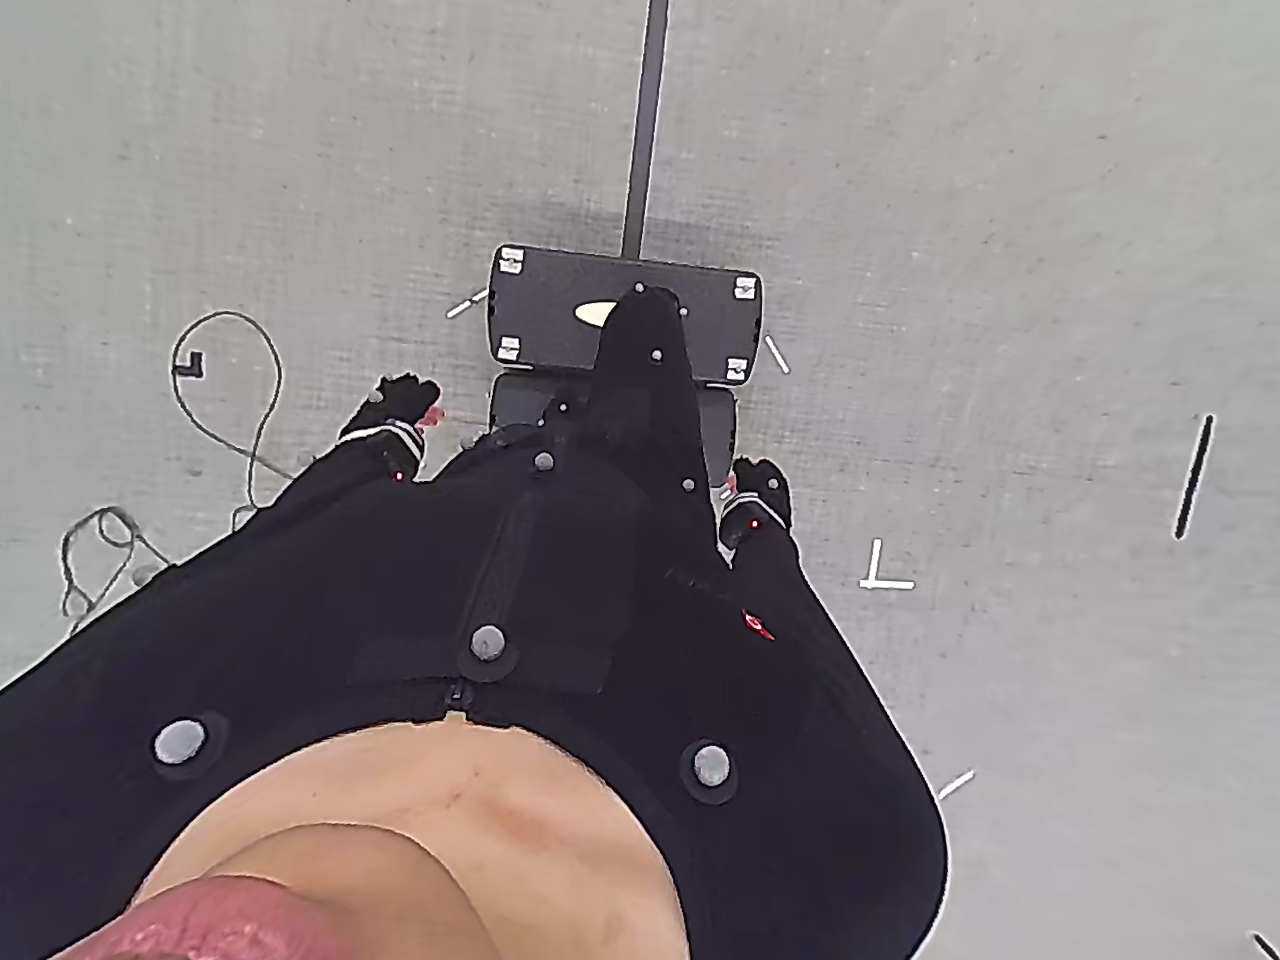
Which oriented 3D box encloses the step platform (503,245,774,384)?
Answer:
[{"bbox_3d":[-0.004,-0.418,1.401,0.684,0.204,0.286,4,101,-6],"label":"step platform"}]
